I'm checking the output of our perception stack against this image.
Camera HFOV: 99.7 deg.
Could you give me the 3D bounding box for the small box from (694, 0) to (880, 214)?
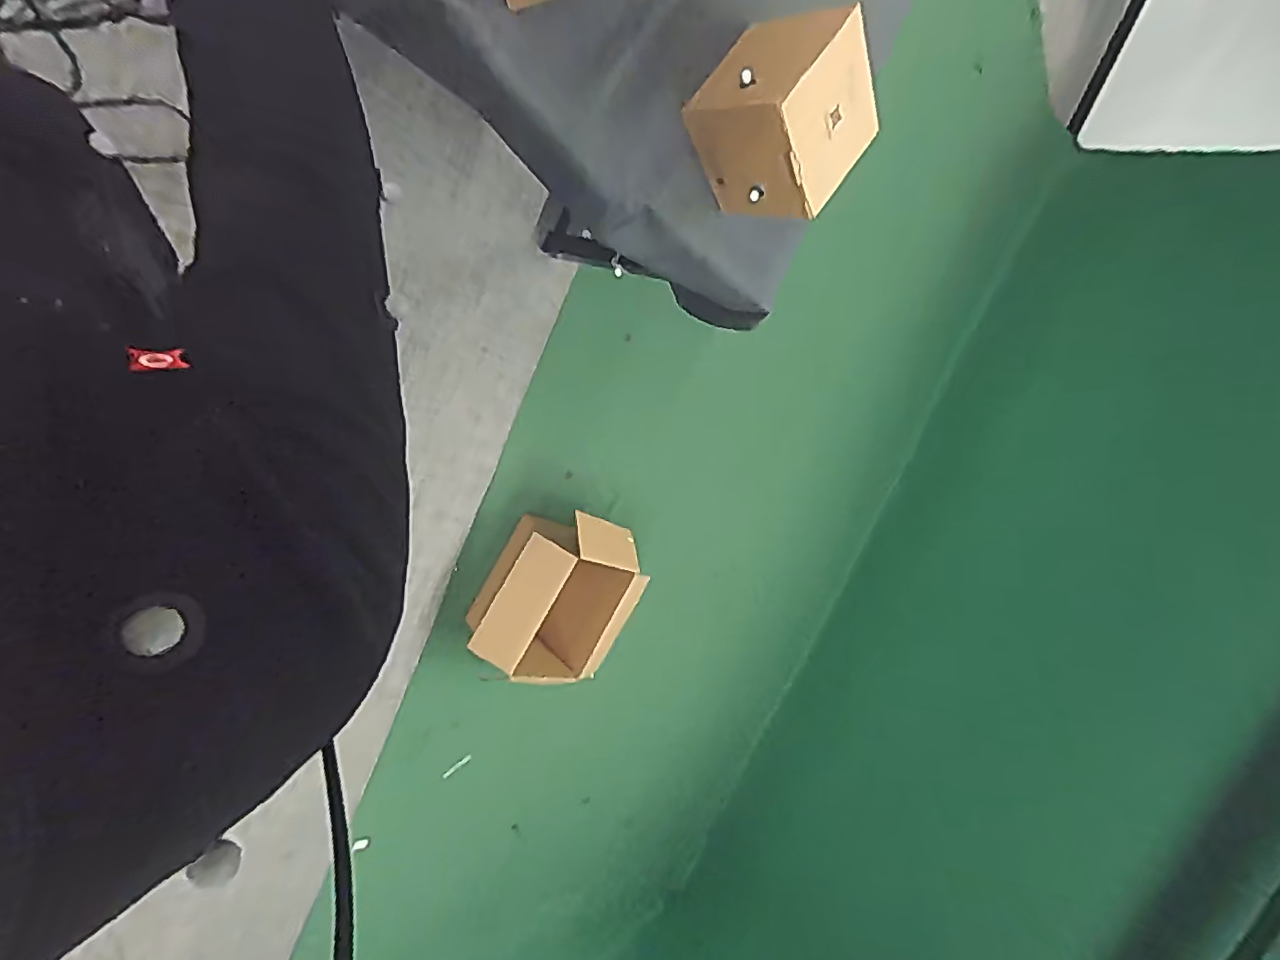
[{"bbox_3d":[0.195,-0.495,0.740,0.179,0.176,0.168,-55,140,-7],"label":"small box"}]
